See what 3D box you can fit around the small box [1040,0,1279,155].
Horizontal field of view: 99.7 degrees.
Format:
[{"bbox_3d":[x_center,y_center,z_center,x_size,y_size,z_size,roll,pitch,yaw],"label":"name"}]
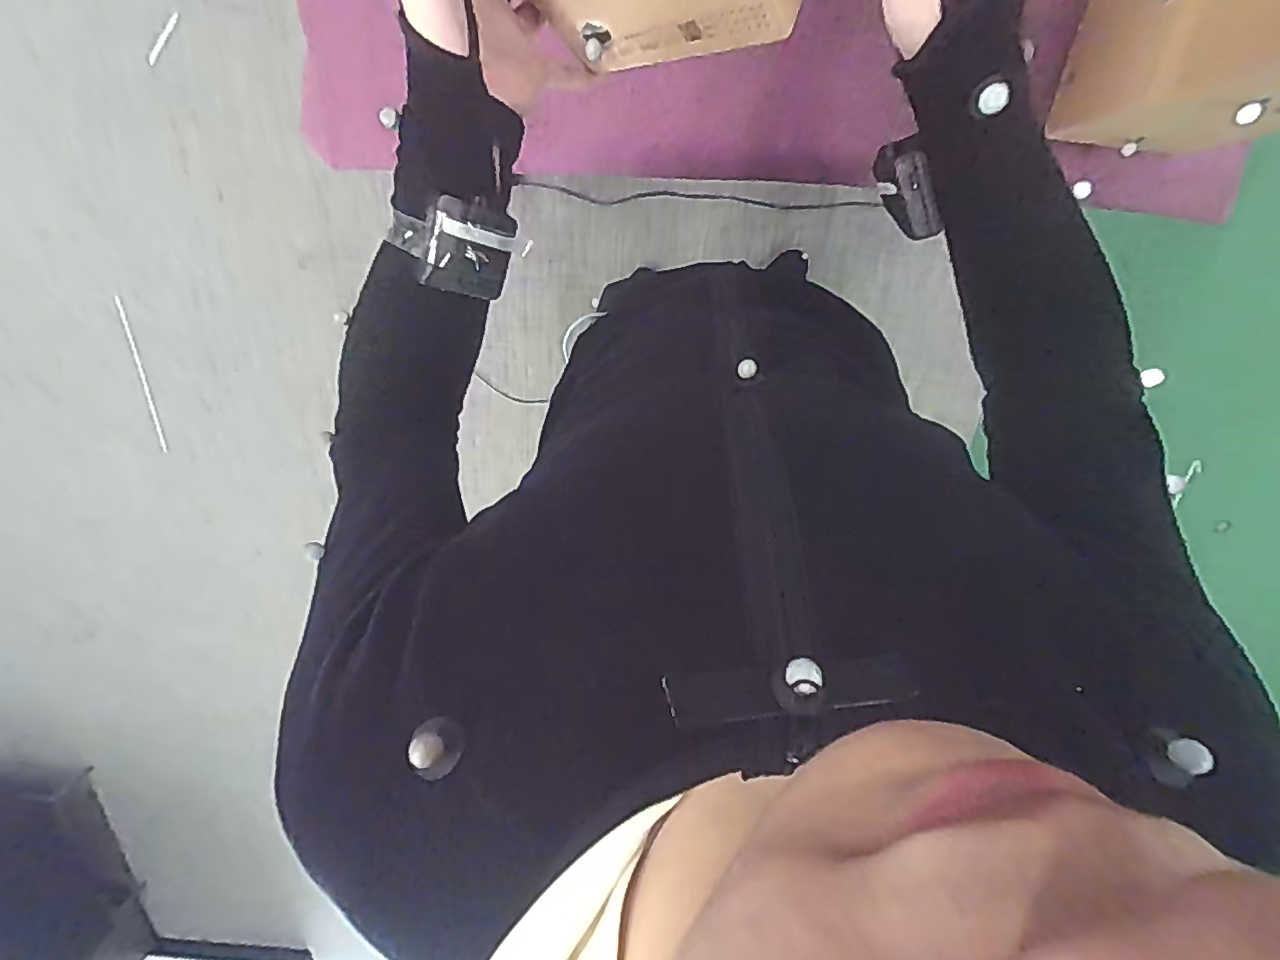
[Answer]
[{"bbox_3d":[0.604,-0.473,0.596,0.179,0.176,0.168,8,111,1],"label":"small box"}]
